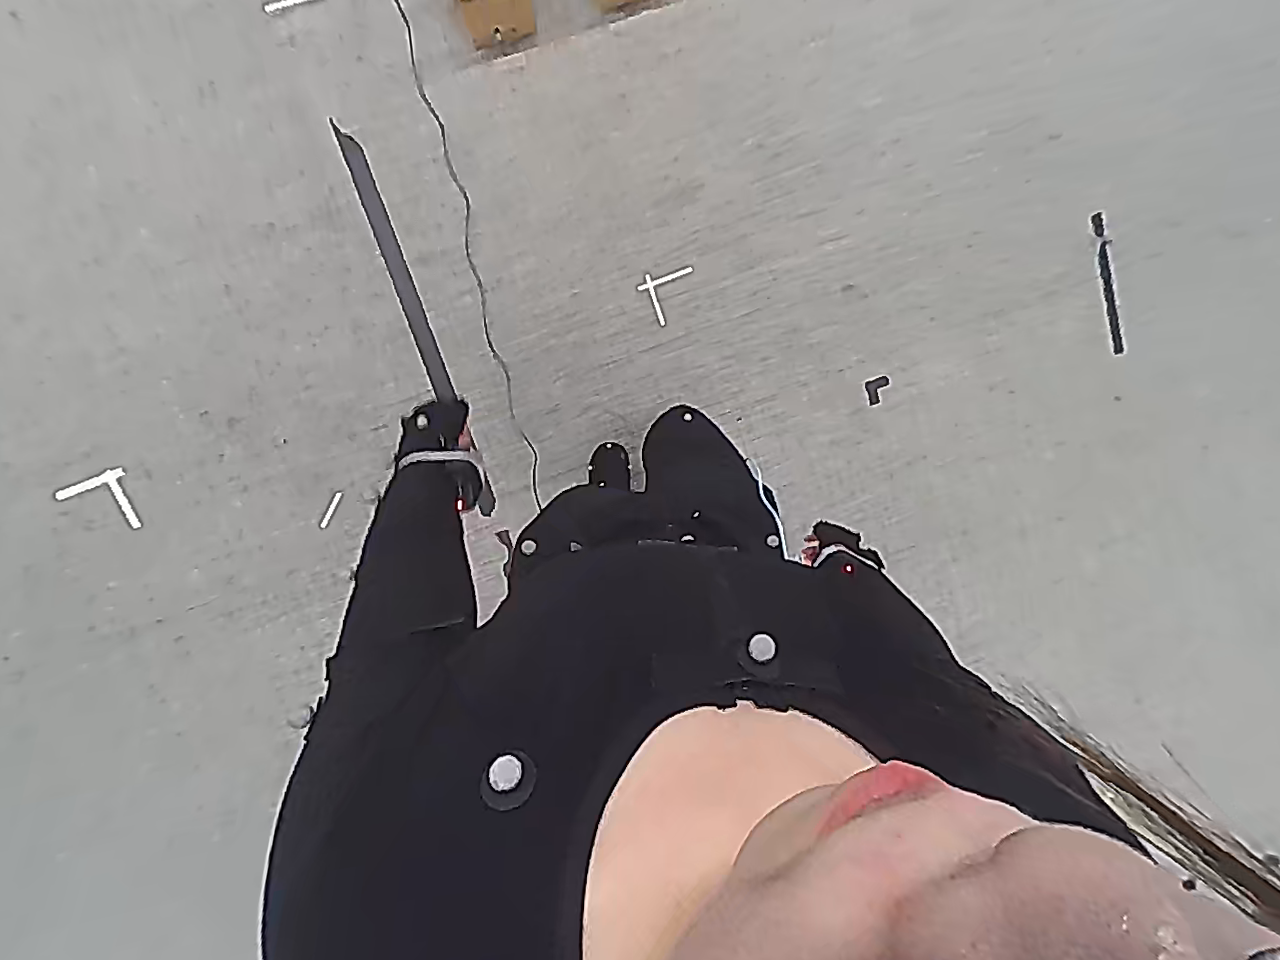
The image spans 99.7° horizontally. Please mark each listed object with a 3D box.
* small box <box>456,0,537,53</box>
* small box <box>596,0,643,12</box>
[{"bbox_3d":[-0.345,-1.135,1.232,0.168,0.176,0.179,-18,99,-2],"label":"small box"},{"bbox_3d":[-0.045,-1.246,1.243,0.168,0.176,0.179,-22,99,-2],"label":"small box"}]
